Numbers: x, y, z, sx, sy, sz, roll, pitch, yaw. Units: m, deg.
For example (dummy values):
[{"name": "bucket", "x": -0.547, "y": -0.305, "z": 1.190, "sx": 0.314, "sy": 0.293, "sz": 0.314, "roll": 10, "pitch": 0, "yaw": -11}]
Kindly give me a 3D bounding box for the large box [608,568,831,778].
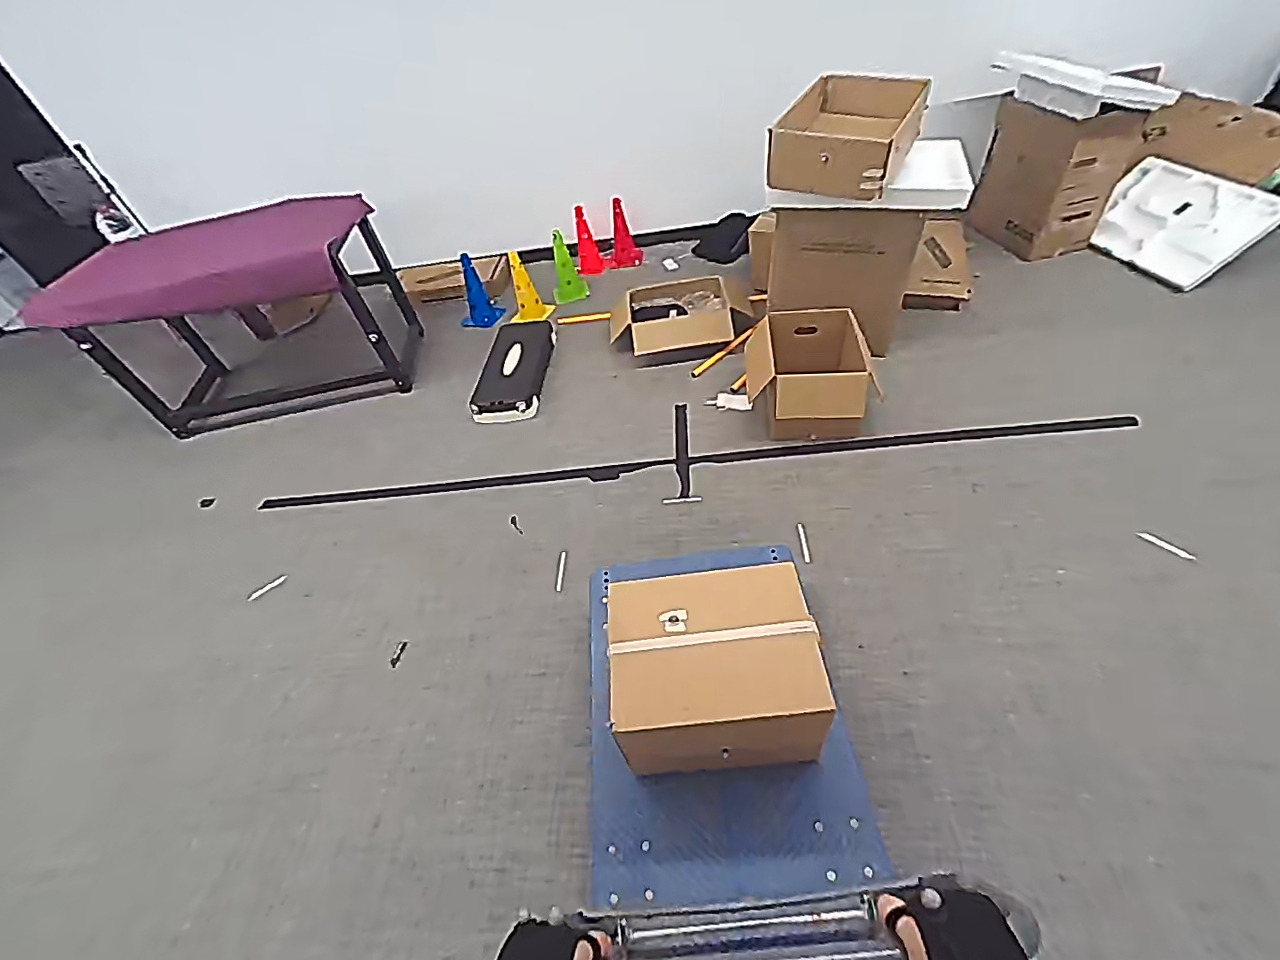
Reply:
[{"name": "large box", "x": 0.160, "y": 0.429, "z": 1.183, "sx": 0.408, "sy": 0.320, "sz": 0.320, "roll": -9, "pitch": 46, "yaw": 4}]
